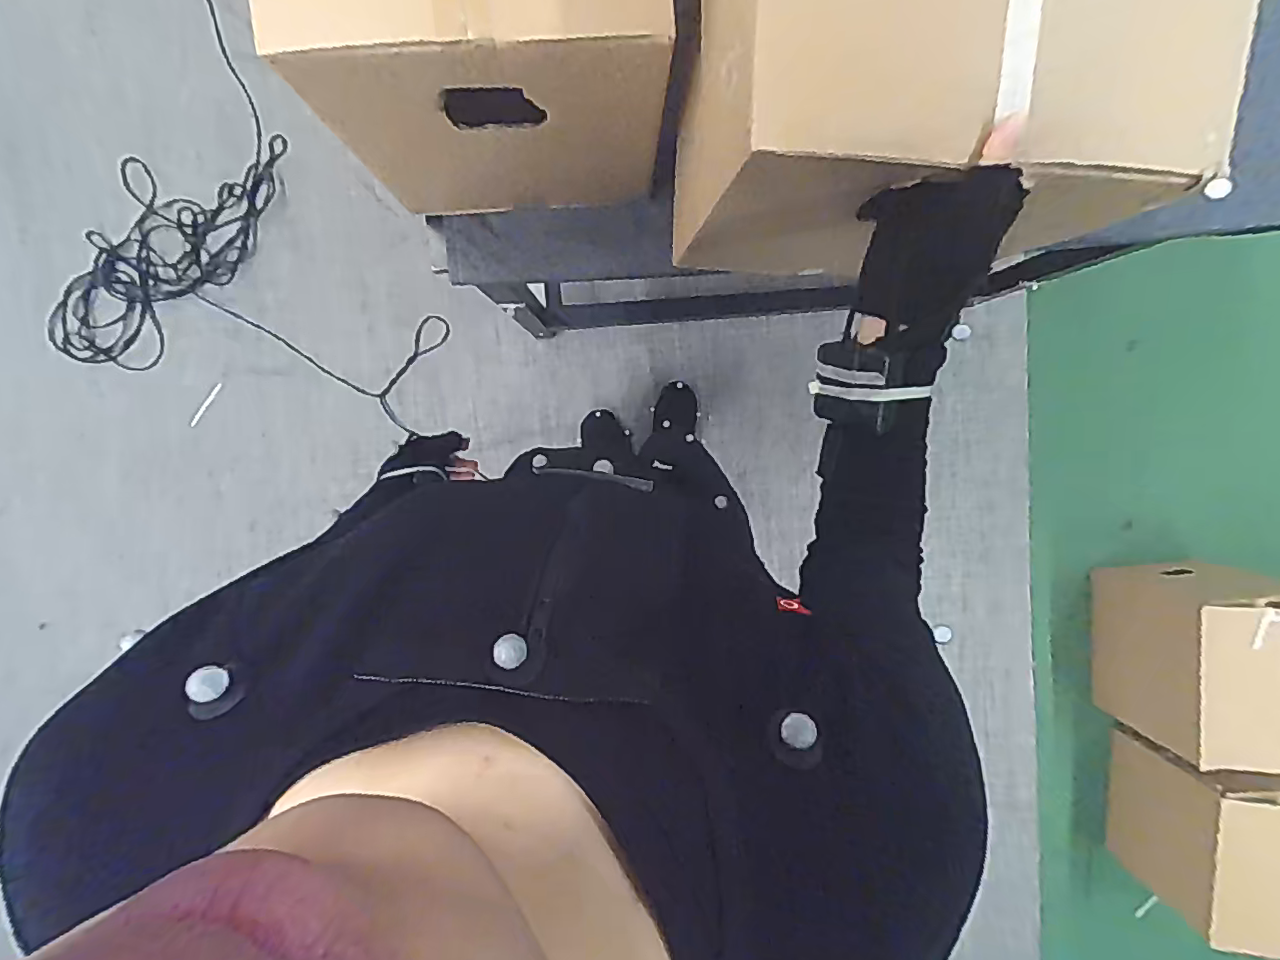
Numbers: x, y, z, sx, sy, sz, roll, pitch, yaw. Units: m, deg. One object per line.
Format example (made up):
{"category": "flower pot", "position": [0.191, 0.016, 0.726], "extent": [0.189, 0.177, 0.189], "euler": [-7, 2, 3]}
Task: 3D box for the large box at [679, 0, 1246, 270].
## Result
{"category": "large box", "position": [0.210, -0.418, 0.447], "extent": [0.320, 0.320, 0.408], "euler": [1, 100, -4]}
